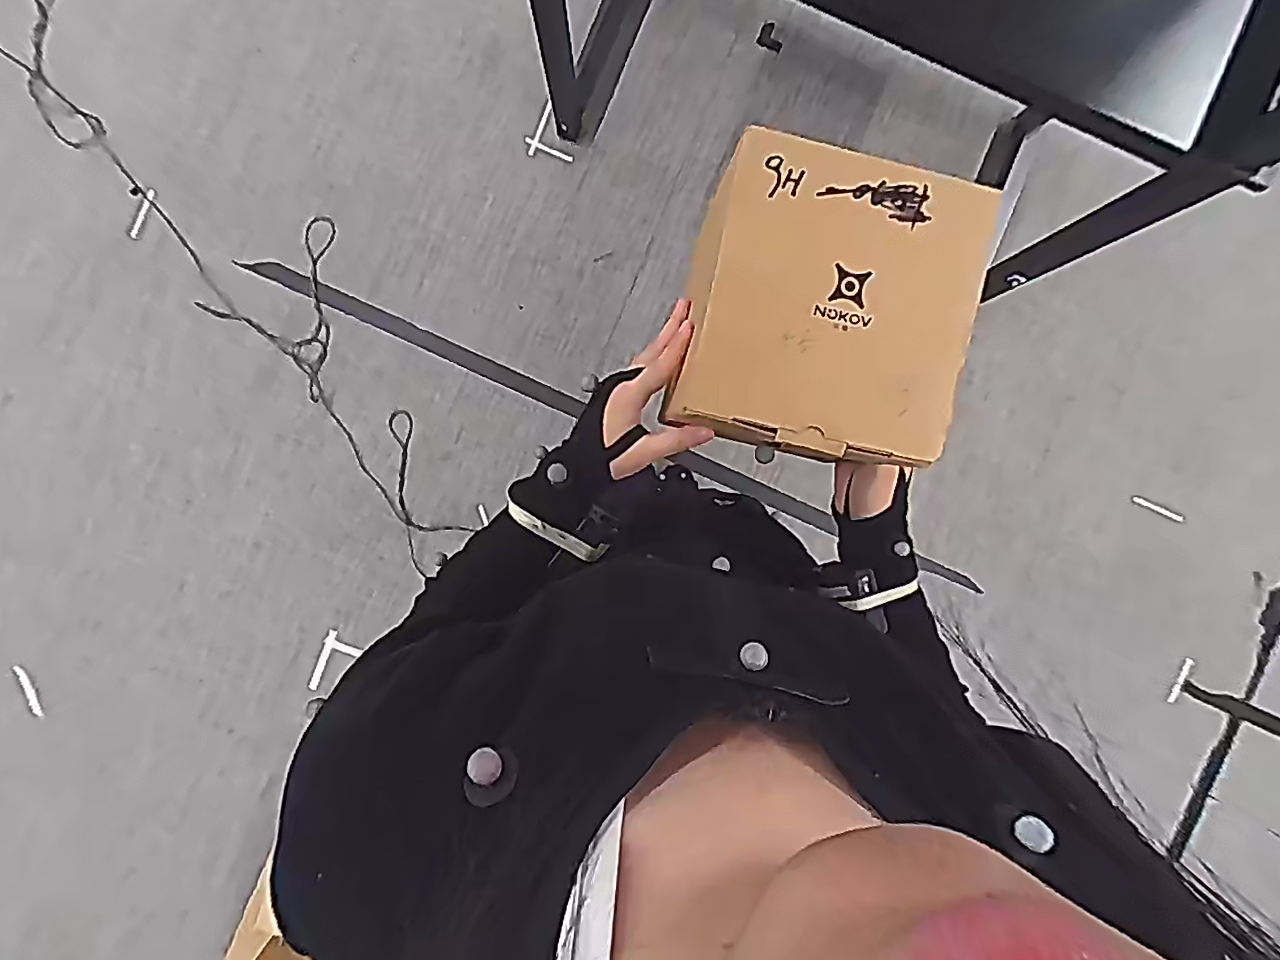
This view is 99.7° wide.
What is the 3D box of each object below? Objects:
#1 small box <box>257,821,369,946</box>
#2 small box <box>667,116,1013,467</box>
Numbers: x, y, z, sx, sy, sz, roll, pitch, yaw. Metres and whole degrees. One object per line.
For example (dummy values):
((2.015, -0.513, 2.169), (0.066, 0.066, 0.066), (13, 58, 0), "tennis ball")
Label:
((-0.834, 1.034, 1.401), (0.168, 0.176, 0.179), (20, 92, -2), "small box")
((0.121, -0.115, 0.402), (0.168, 0.176, 0.179), (12, 93, -5), "small box")
